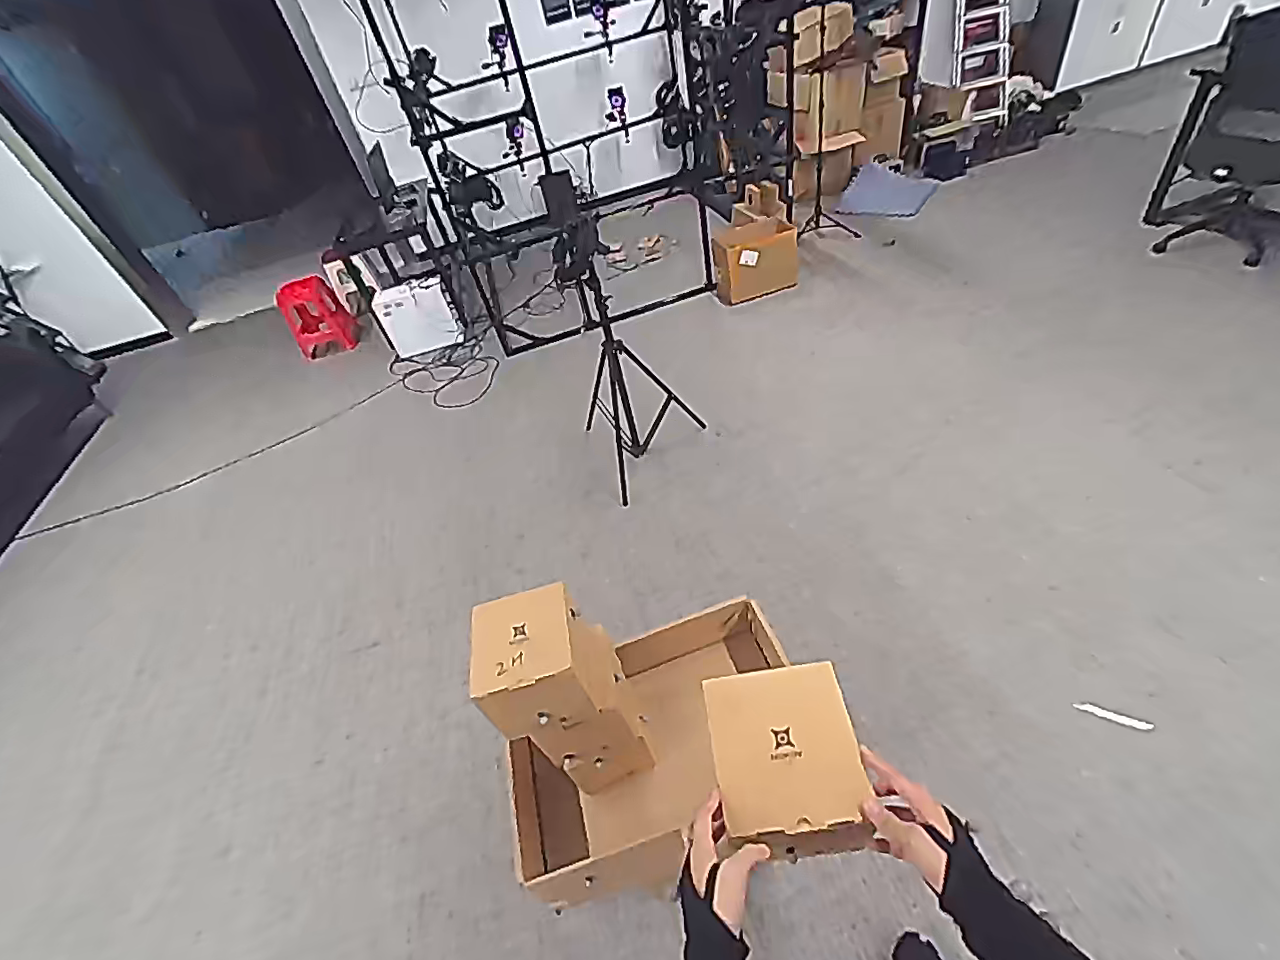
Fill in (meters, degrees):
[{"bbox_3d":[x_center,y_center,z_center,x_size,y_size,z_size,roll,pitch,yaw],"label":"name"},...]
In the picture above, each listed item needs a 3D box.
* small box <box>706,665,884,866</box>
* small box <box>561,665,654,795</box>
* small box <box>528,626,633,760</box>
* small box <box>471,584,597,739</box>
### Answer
[{"bbox_3d":[0.181,0.362,0.684,0.168,0.176,0.179,-10,47,4],"label":"small box"},{"bbox_3d":[-0.083,0.538,1.167,0.168,0.176,0.179,-21,43,-6],"label":"small box"},{"bbox_3d":[-0.121,0.422,1.056,0.168,0.176,0.179,-17,42,-2],"label":"small box"},{"bbox_3d":[-0.181,0.316,0.942,0.168,0.176,0.179,-16,43,-1],"label":"small box"}]
